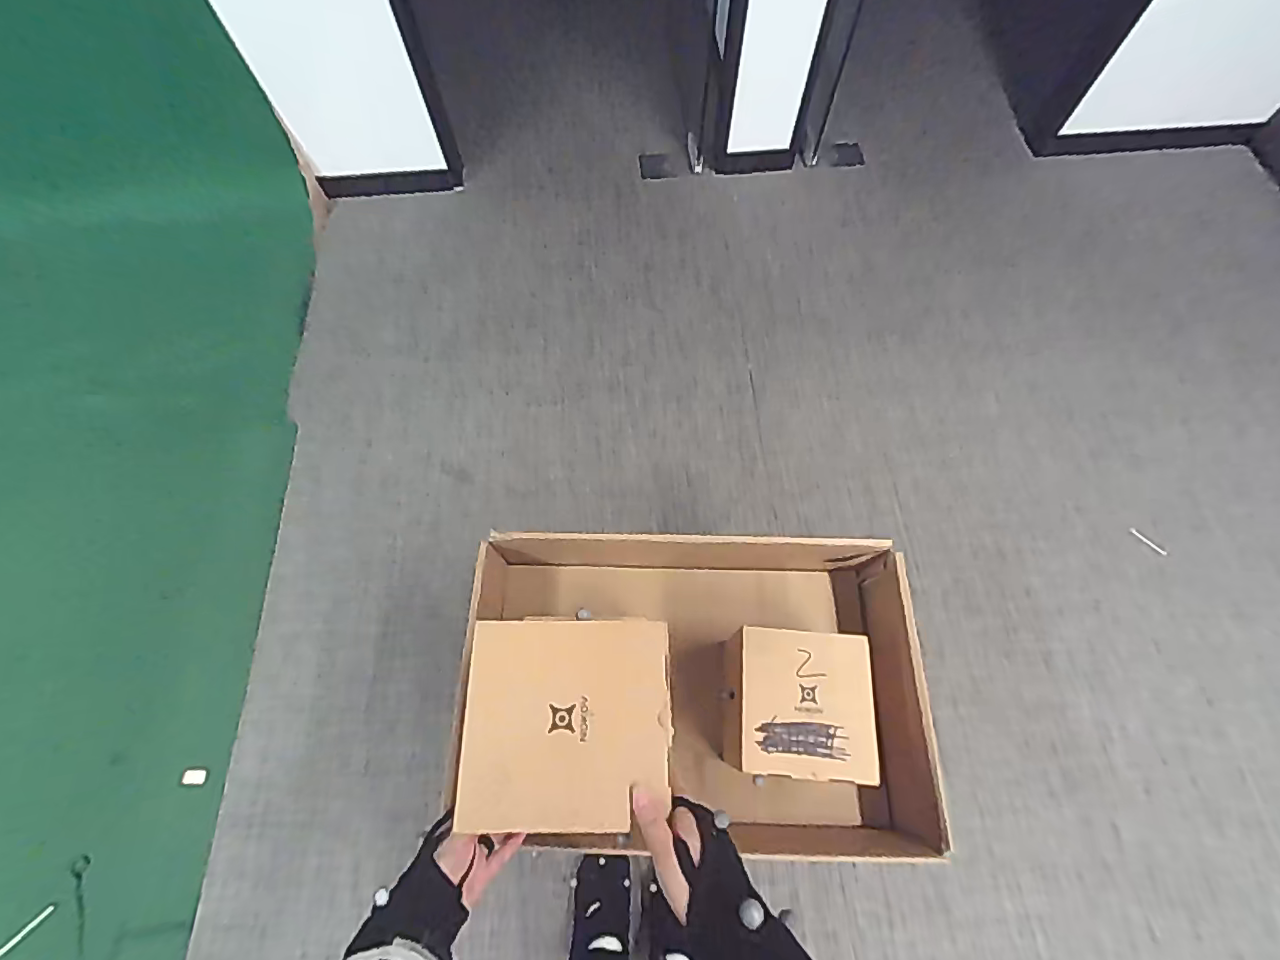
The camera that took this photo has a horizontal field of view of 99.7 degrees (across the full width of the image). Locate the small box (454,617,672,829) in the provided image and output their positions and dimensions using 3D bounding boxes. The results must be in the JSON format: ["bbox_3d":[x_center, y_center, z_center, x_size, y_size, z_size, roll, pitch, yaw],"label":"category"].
[{"bbox_3d":[-0.064,0.232,0.531,0.179,0.176,0.168,2,67,-3],"label":"small box"}]
